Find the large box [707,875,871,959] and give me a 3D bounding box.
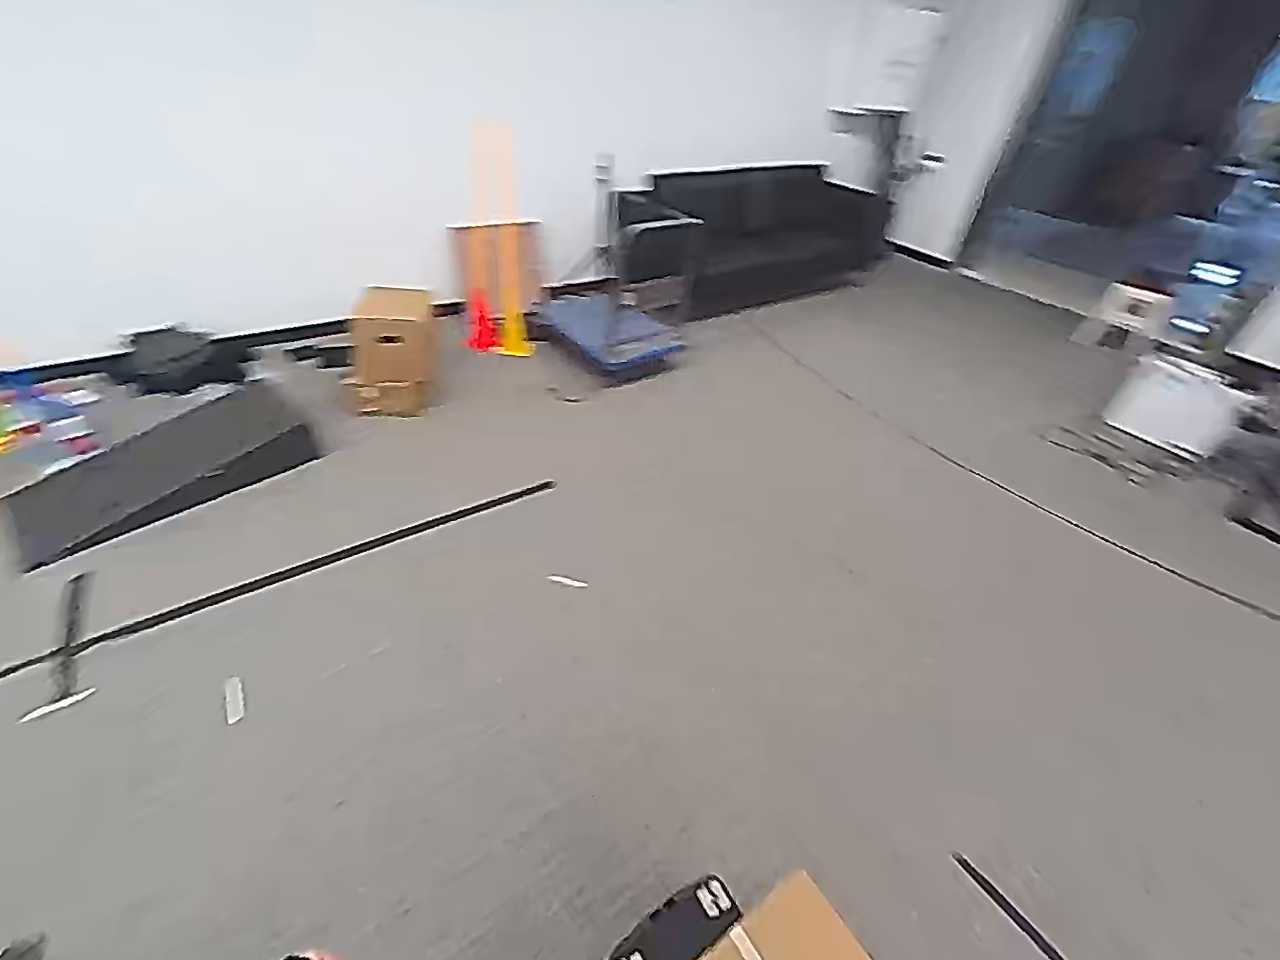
[{"bbox_3d":[0.247,0.915,0.785,0.320,0.320,0.408,-19,43,-28],"label":"large box"}]
